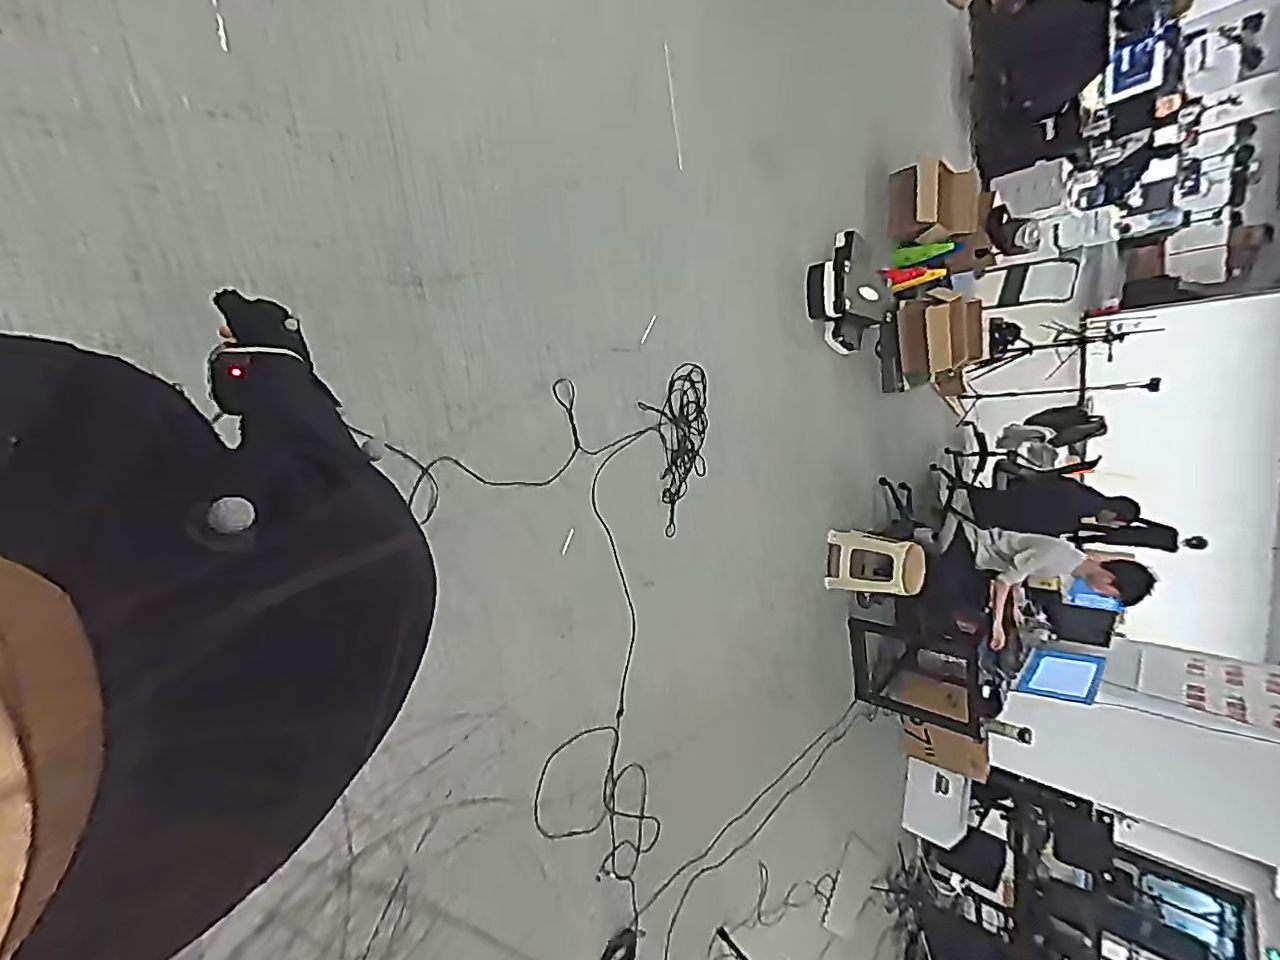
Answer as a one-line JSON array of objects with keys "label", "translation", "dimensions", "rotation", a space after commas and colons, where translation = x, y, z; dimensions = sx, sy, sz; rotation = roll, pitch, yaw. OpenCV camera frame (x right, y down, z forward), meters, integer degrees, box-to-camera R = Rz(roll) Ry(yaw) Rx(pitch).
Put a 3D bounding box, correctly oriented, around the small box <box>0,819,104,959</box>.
[{"label": "small box", "translation": [-1.097, 0.750, 0.968], "dimensions": [0.168, 0.176, 0.179], "rotation": [-16, 104, -43]}]
